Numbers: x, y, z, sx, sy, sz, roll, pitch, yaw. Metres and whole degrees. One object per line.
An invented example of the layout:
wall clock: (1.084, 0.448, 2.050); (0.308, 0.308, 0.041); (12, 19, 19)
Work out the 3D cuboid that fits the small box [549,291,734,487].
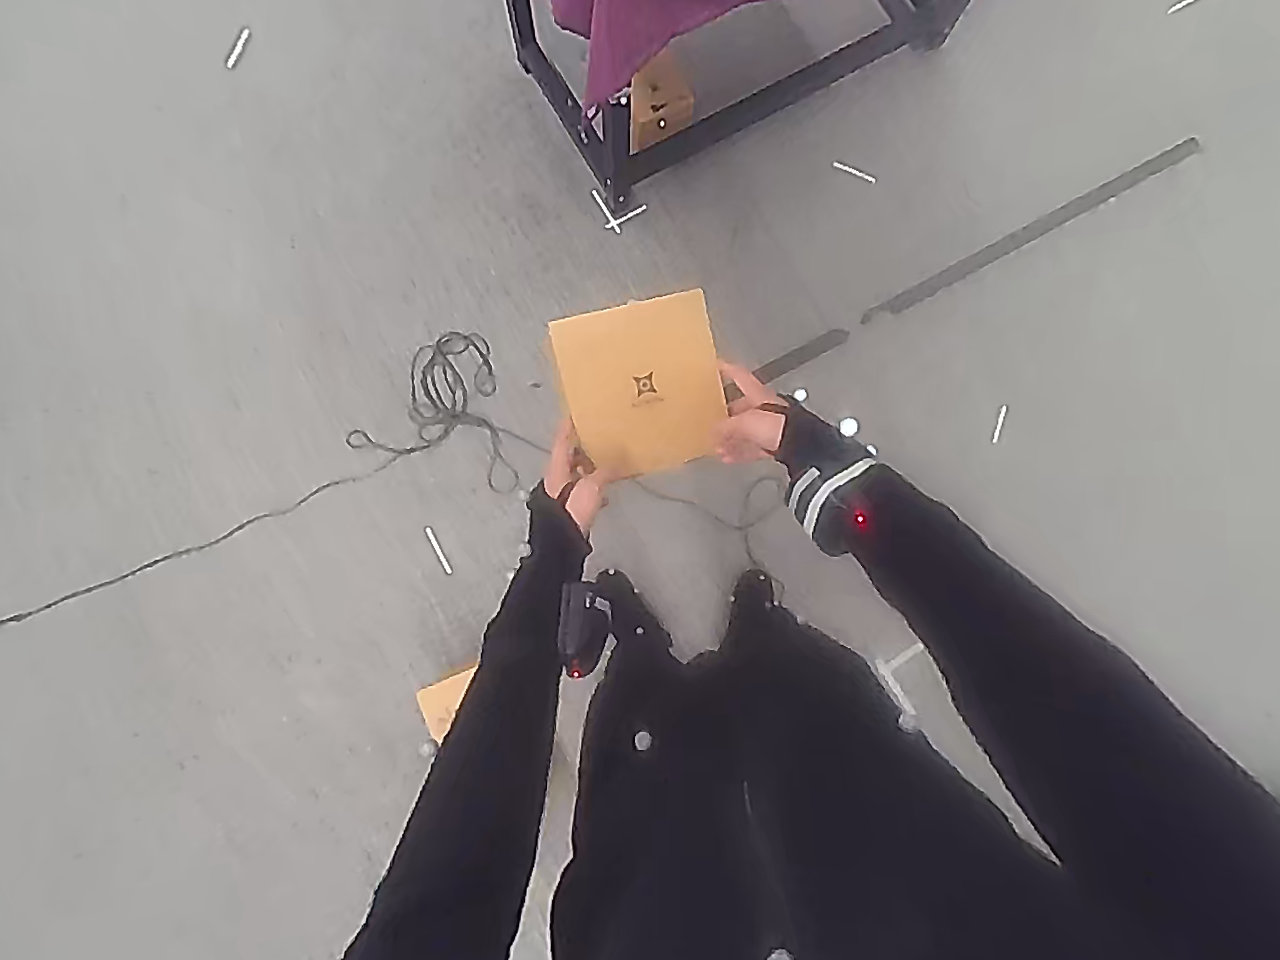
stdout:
small box: (-0.009, -0.103, 0.636); (0.168, 0.176, 0.179); (-15, 101, -8)
